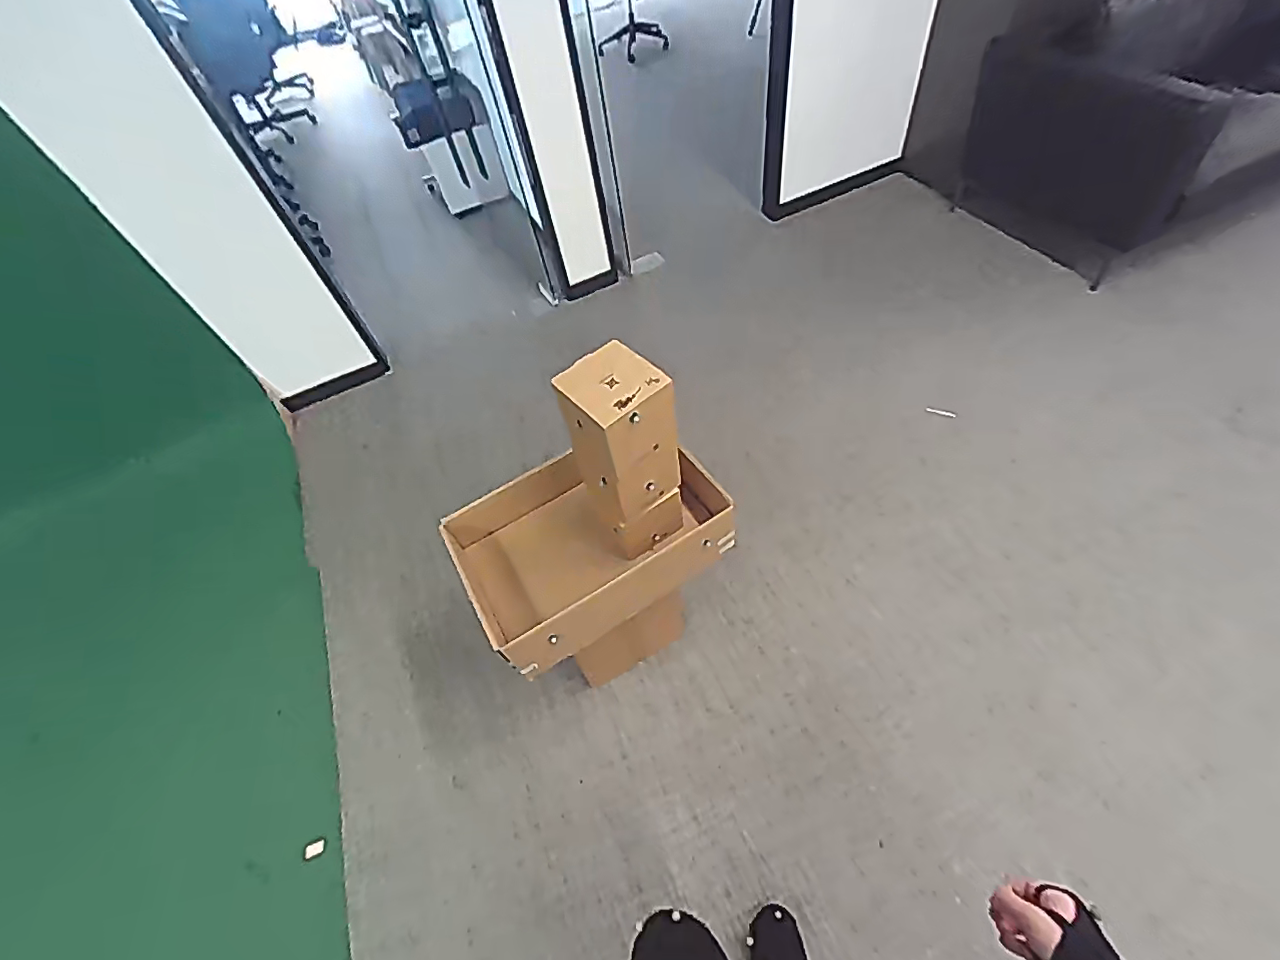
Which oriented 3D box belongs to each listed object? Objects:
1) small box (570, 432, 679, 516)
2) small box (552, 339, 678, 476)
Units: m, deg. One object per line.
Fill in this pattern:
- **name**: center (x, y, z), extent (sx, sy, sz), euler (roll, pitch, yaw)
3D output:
- **small box**: center (-0.028, -0.044, 1.198), extent (0.168, 0.176, 0.179), euler (-35, 57, -17)
- **small box**: center (-0.043, -0.139, 1.066), extent (0.168, 0.176, 0.179), euler (-38, 57, -18)
